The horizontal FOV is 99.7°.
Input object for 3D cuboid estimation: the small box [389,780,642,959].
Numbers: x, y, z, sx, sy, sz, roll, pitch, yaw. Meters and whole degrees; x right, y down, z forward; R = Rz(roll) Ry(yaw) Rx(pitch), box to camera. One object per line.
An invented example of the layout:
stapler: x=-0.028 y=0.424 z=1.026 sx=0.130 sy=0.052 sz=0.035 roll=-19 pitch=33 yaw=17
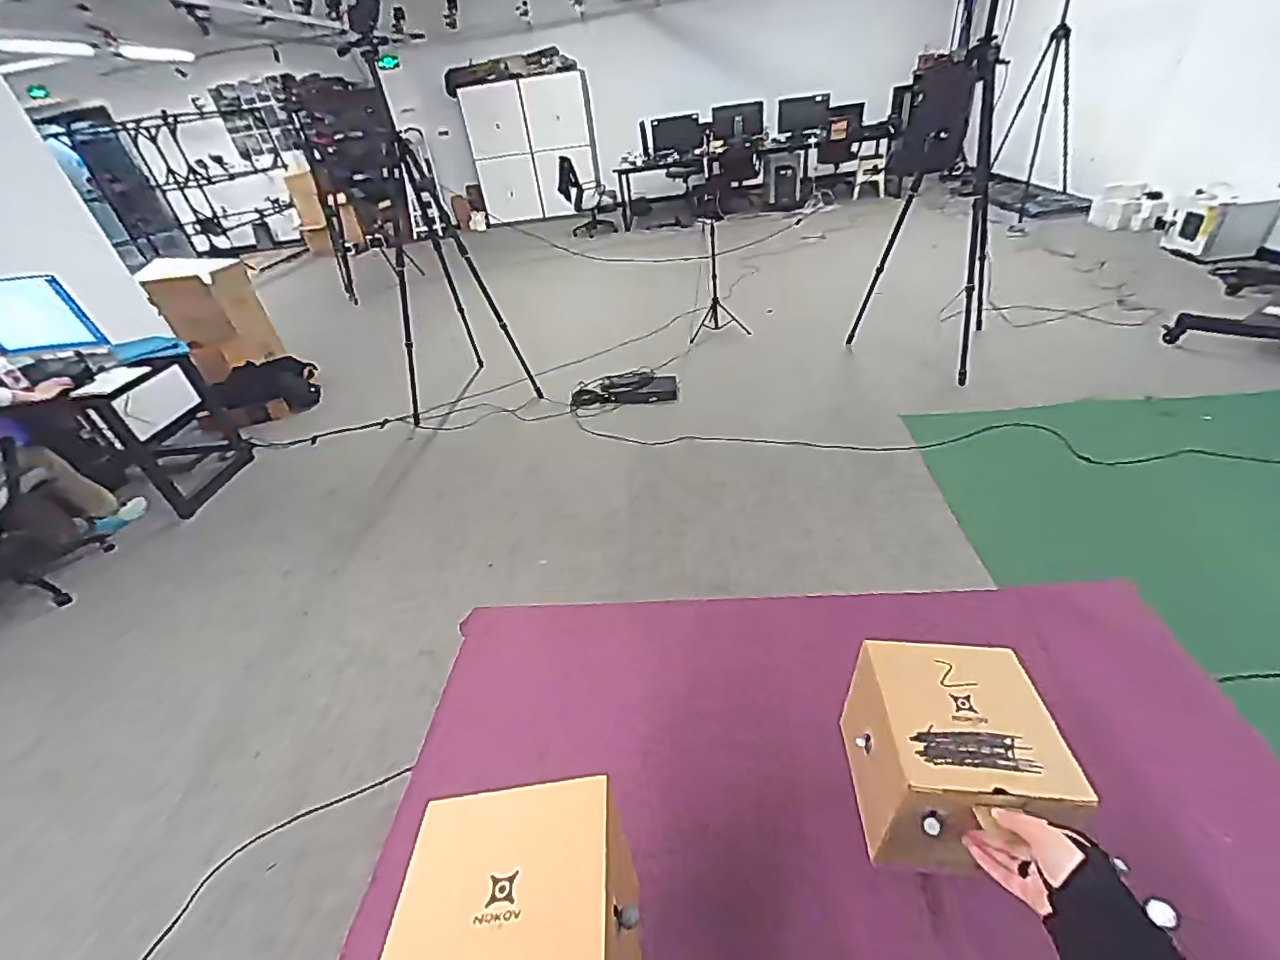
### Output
small box: x=-0.092 y=0.397 z=0.458 sx=0.168 sy=0.176 sz=0.179 roll=-10 pitch=27 yaw=2
